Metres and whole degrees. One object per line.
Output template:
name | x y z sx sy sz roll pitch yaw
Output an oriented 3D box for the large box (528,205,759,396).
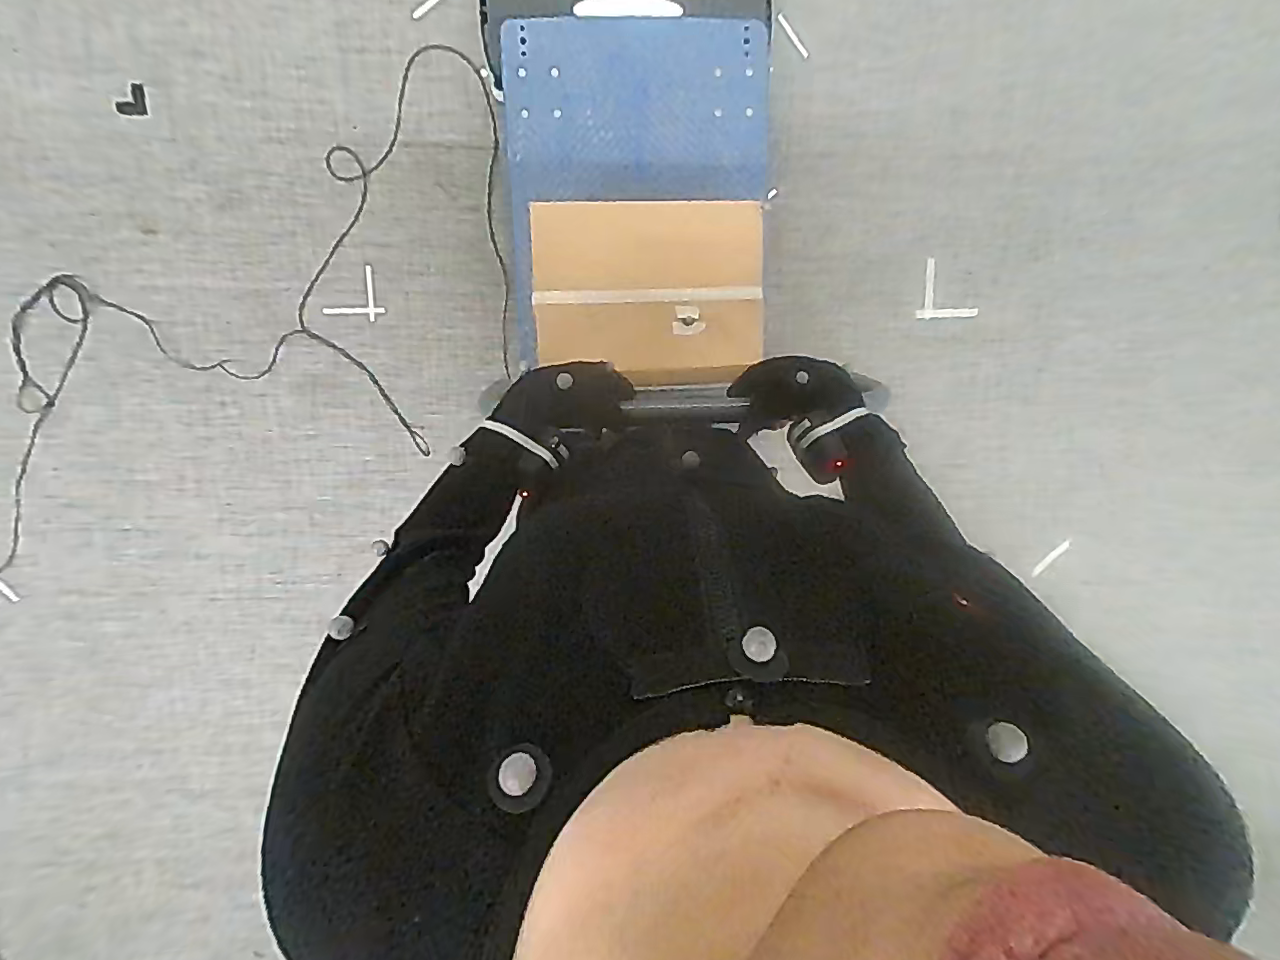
large box | 0.000 -0.338 1.098 0.408 0.320 0.320 -3 99 -4
